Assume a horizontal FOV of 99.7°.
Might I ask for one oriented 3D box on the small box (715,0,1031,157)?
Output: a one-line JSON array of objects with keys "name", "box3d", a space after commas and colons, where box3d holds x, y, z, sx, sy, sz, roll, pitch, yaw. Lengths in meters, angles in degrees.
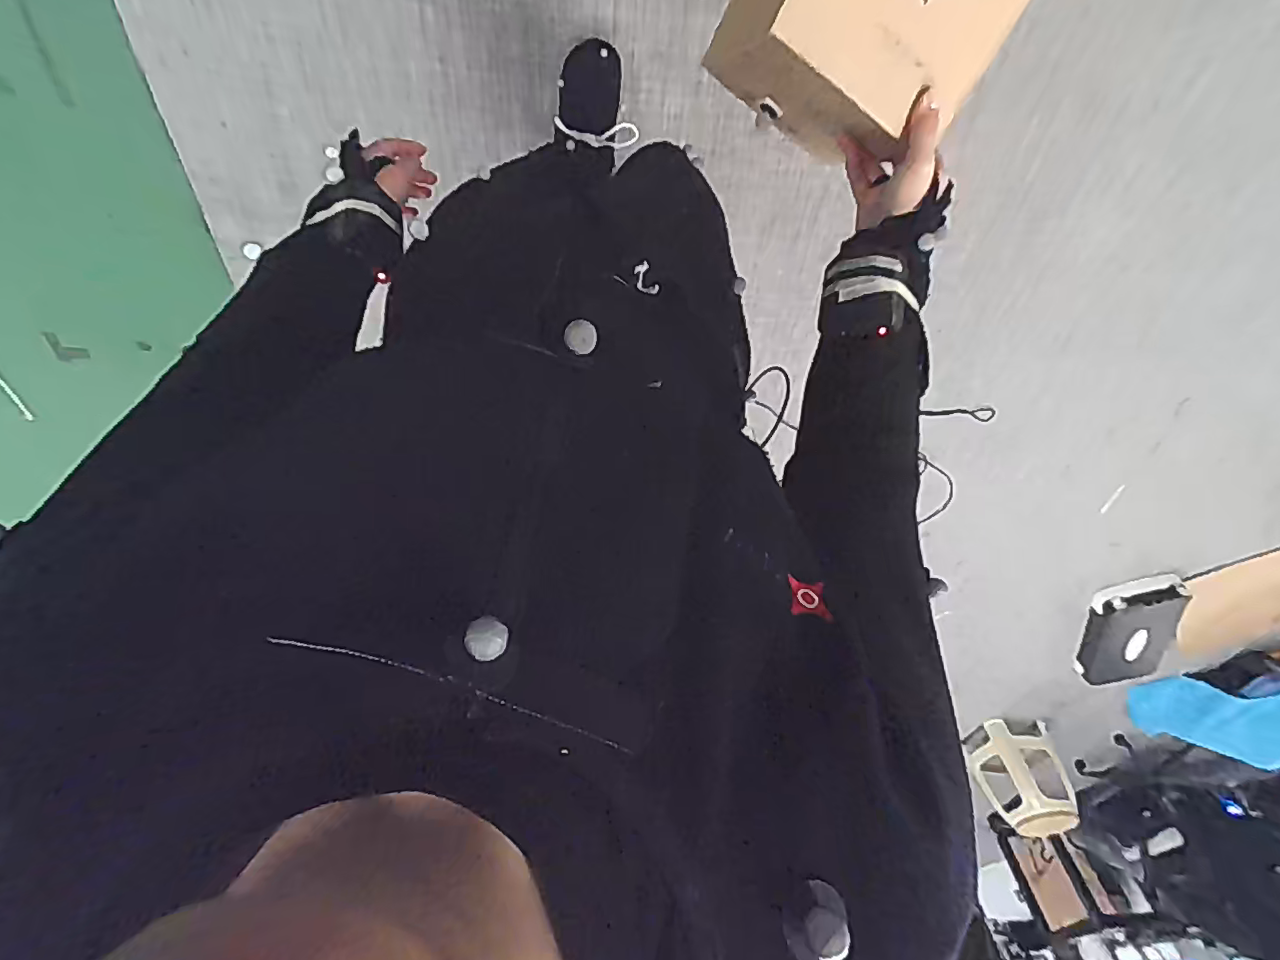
[{"name": "small box", "box3d": [0.185, -0.394, 0.440, 0.168, 0.176, 0.179, 20, 112, -23]}]
